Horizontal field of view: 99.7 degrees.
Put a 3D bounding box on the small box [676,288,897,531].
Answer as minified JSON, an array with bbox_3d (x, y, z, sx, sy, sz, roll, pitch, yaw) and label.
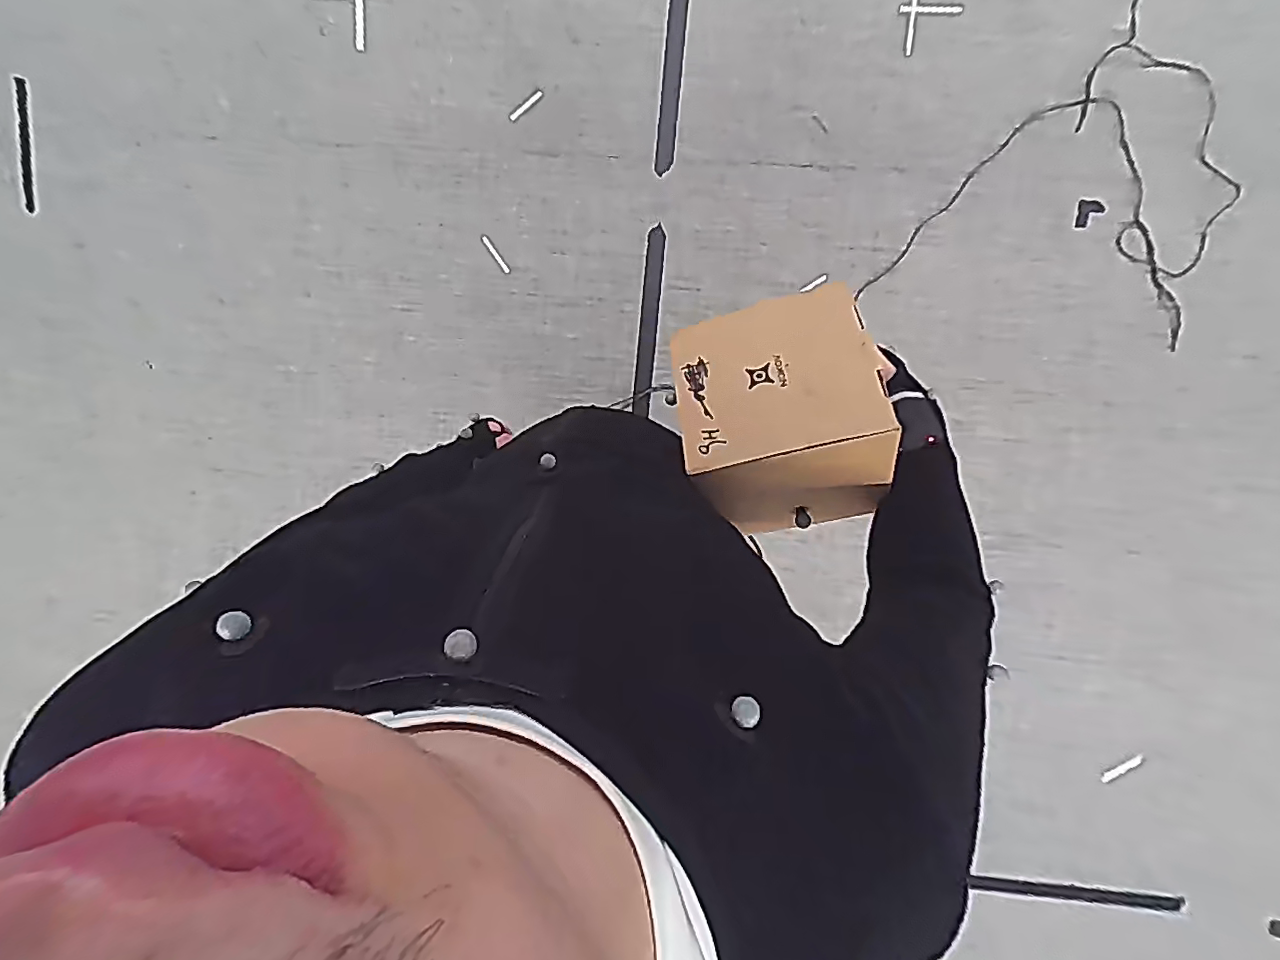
[{"bbox_3d":[0.147,-0.061,0.565,0.179,0.176,0.168,-12,60,14],"label":"small box"}]
